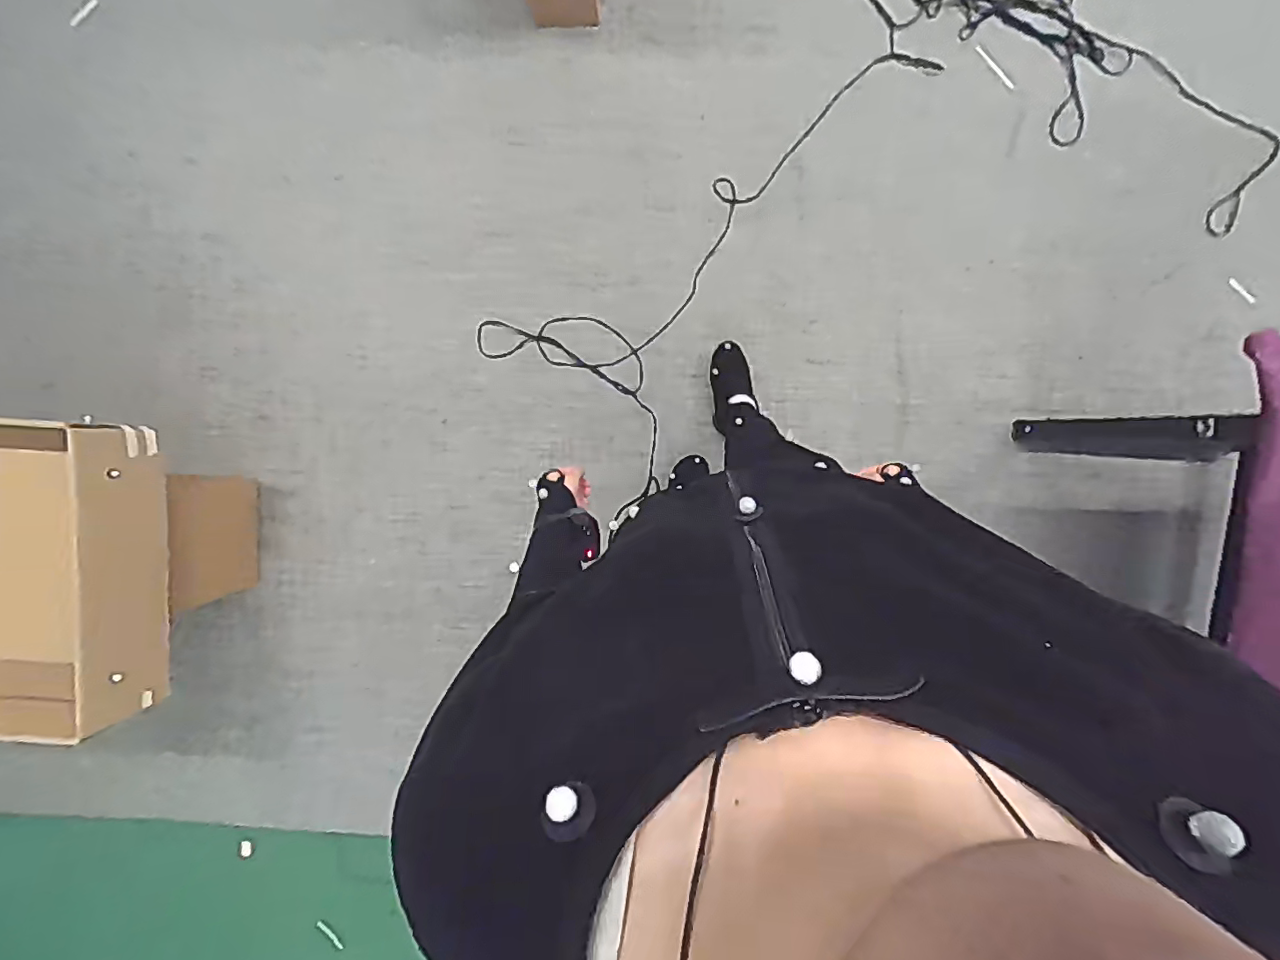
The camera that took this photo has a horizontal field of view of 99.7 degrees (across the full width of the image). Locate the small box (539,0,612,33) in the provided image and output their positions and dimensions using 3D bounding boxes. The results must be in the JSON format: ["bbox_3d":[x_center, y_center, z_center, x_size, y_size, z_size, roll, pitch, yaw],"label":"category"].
[{"bbox_3d":[-0.163,-1.249,1.335,0.179,0.176,0.168,2,95,2],"label":"small box"}]
